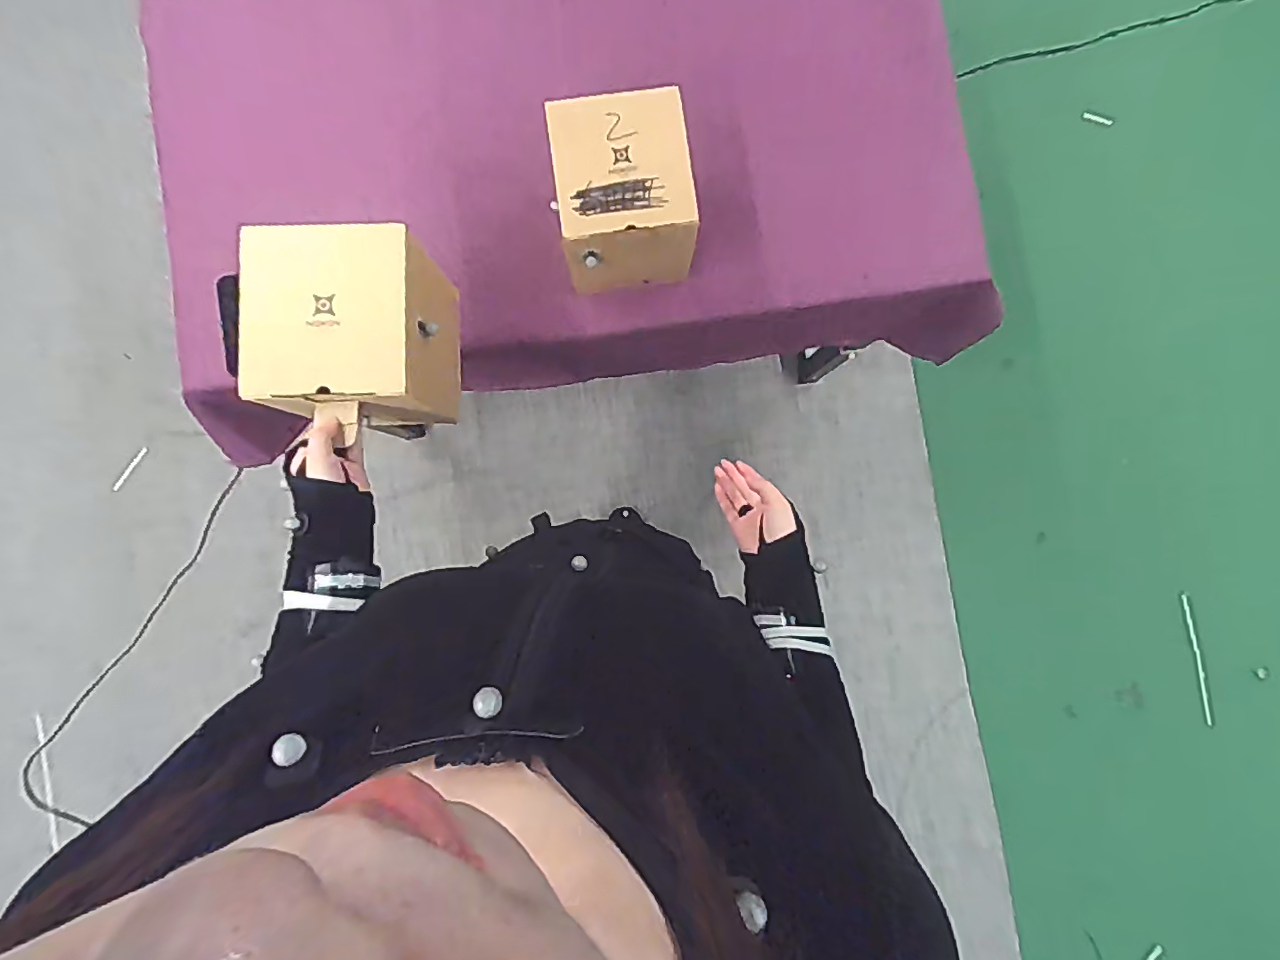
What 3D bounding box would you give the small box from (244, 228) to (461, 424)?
[{"bbox_3d":[-0.315,-0.165,0.624,0.168,0.176,0.179,-1,87,-1],"label":"small box"}]
